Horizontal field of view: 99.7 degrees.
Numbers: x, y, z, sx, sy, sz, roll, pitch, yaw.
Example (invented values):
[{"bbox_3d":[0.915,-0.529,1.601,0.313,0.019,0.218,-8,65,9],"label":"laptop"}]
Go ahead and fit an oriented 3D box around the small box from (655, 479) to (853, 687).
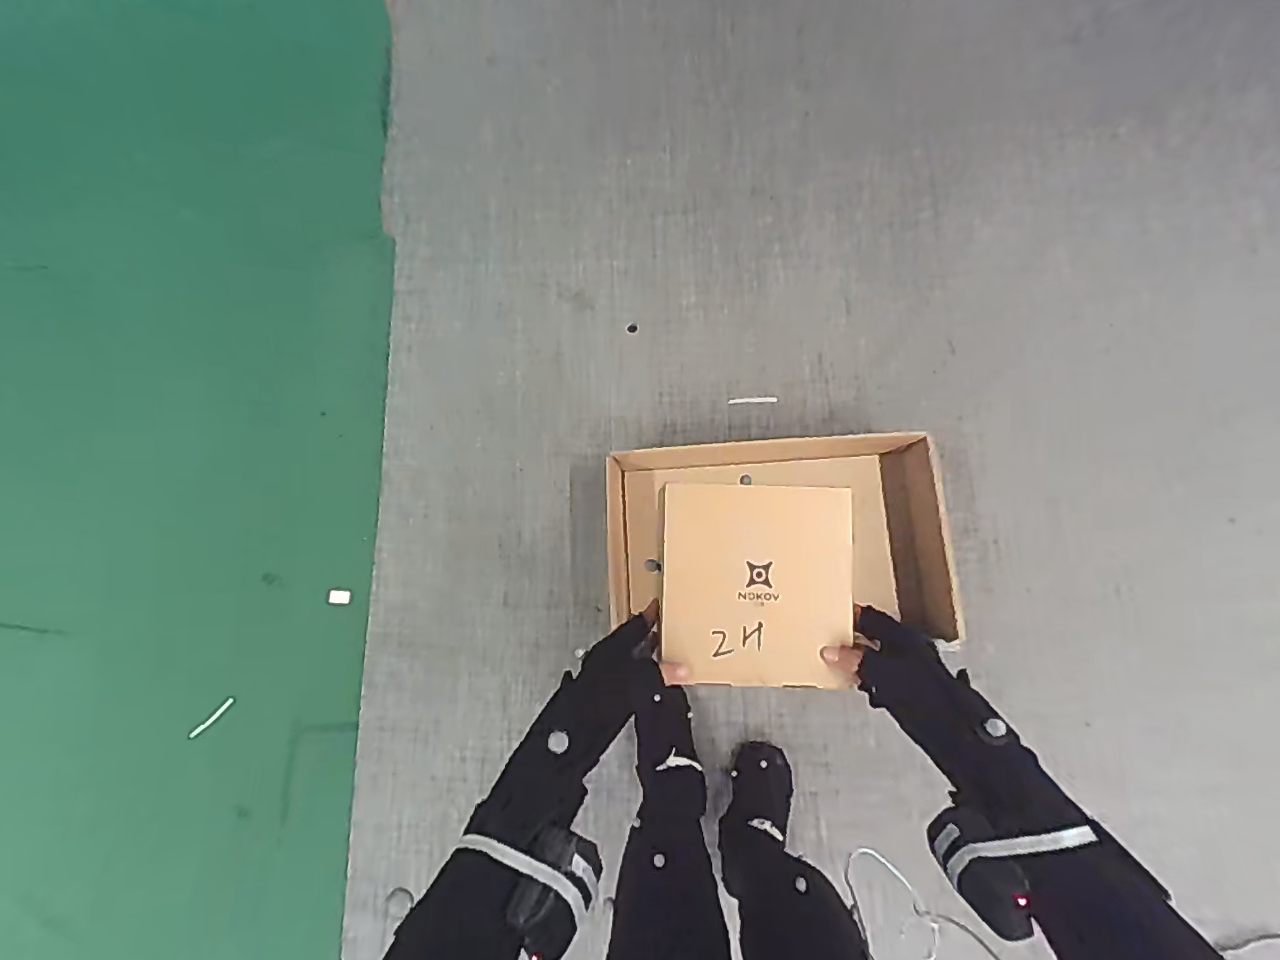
[{"bbox_3d":[0.102,0.095,0.550,0.168,0.176,0.179,2,86,0],"label":"small box"}]
